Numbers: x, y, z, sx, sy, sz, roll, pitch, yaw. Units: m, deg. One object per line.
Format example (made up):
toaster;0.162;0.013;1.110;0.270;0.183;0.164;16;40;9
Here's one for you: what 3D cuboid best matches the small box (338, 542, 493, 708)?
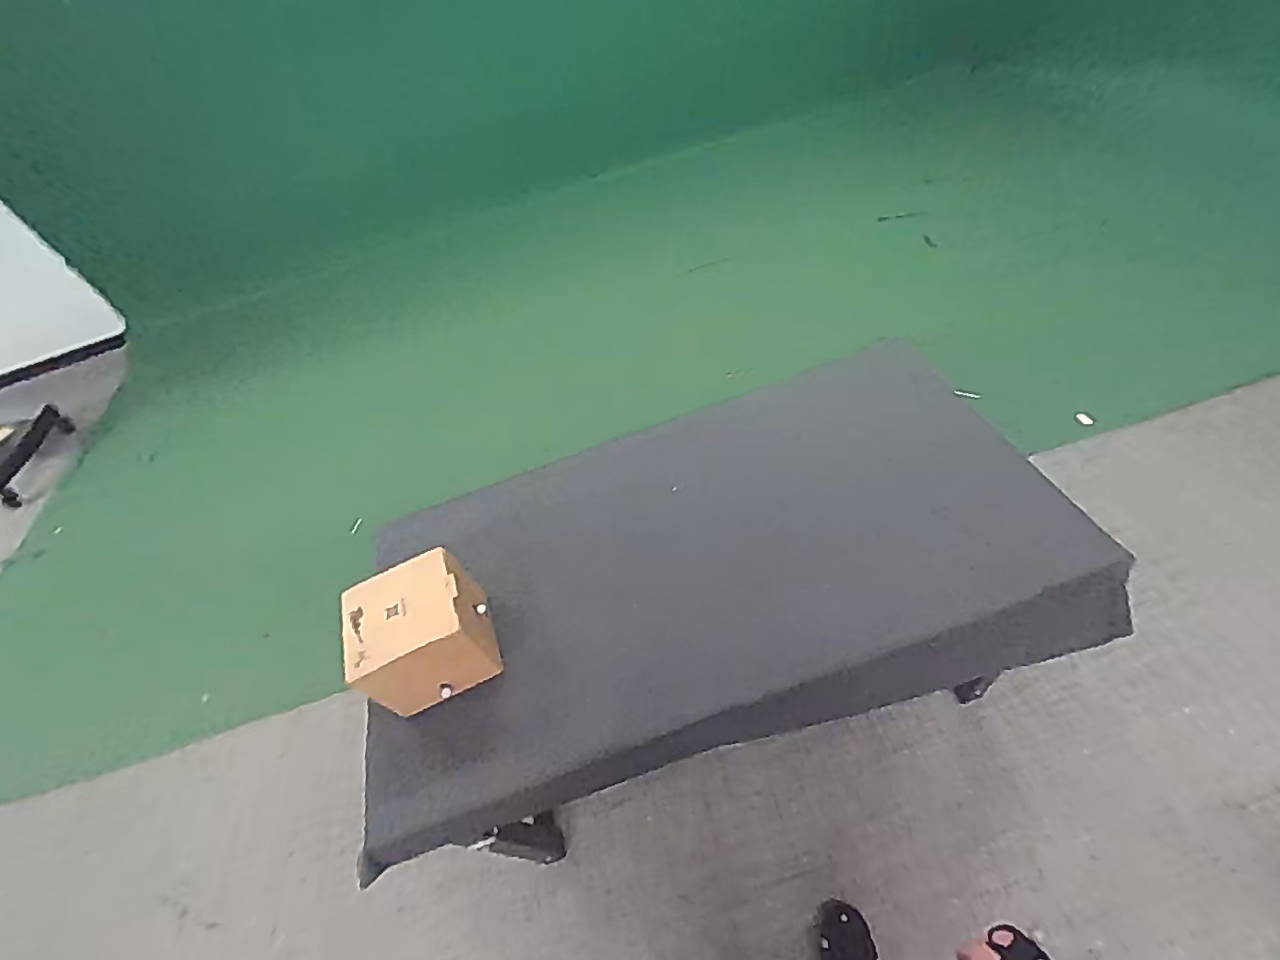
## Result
small box;-0.351;0.235;0.869;0.179;0.176;0.168;-24;51;-8
